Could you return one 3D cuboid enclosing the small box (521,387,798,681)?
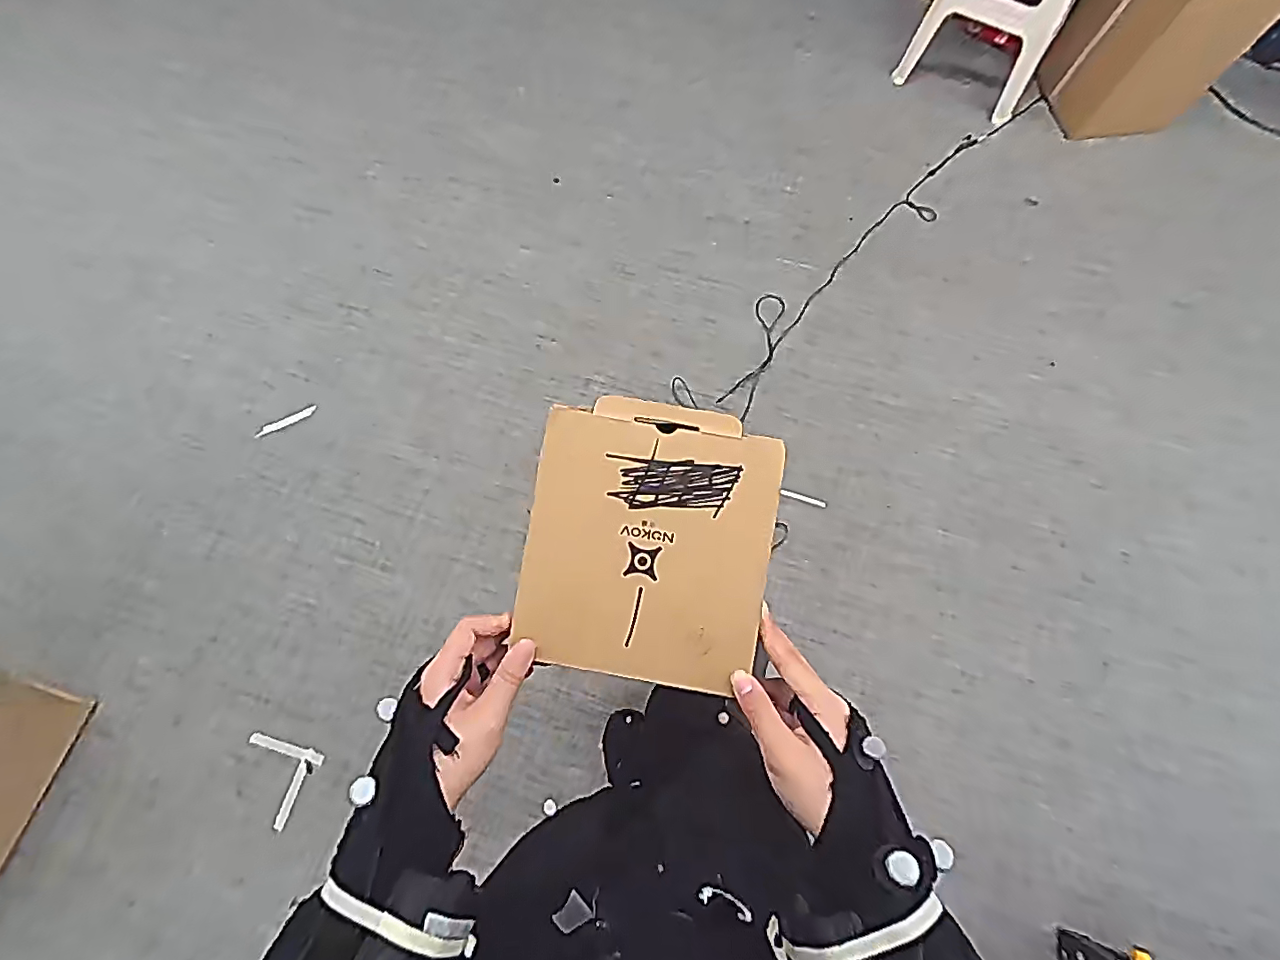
[{"bbox_3d":[0.016,0.040,0.443,0.168,0.176,0.179,9,87,3],"label":"small box"}]
